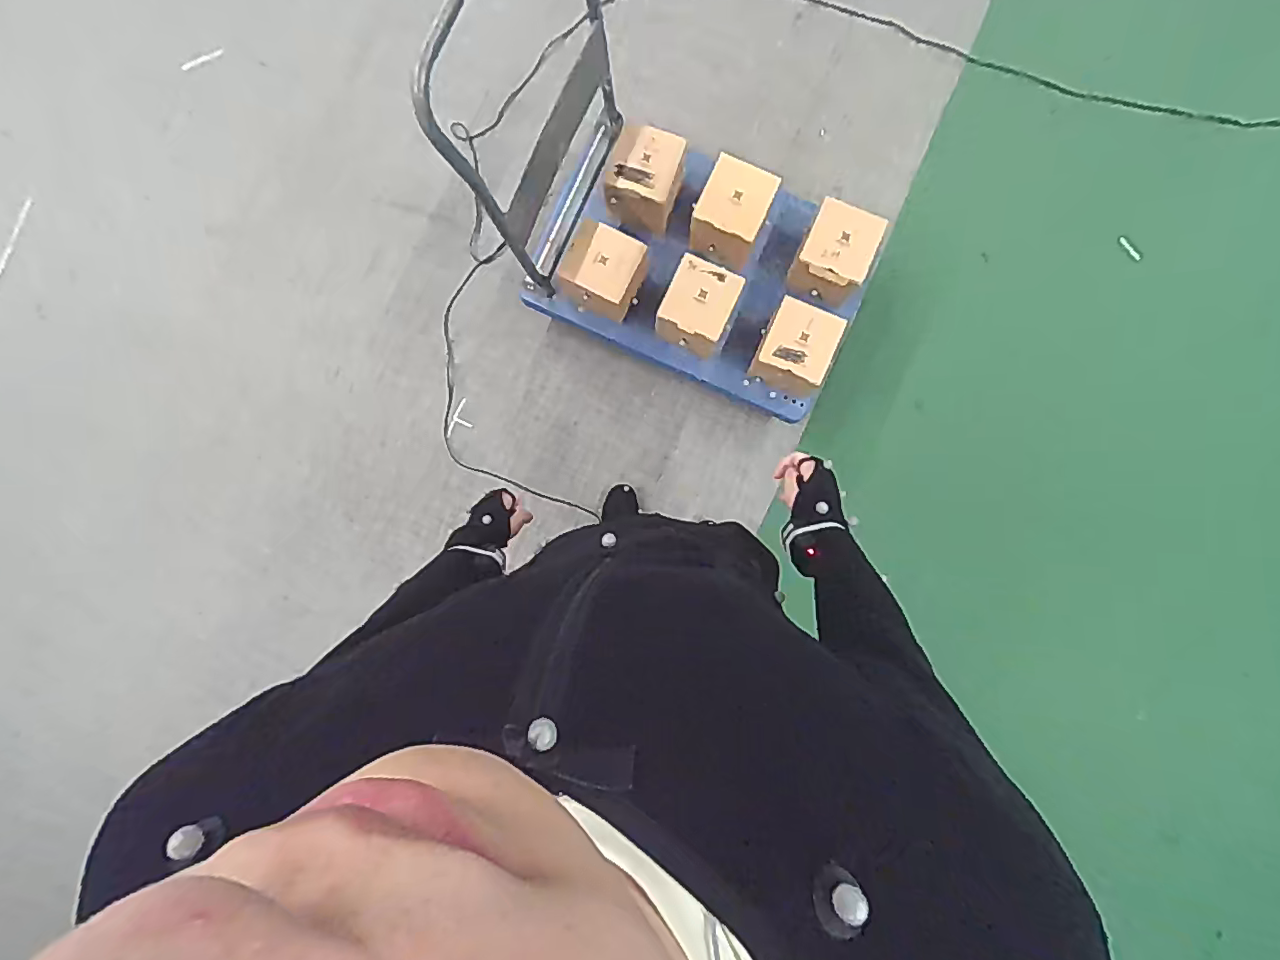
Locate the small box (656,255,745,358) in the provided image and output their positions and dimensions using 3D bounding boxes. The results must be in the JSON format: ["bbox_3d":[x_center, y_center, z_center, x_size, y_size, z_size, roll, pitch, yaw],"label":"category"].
[{"bbox_3d":[0.151,-0.438,1.402,0.168,0.176,0.179,26,89,2],"label":"small box"}]

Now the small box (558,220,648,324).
[{"bbox_3d":[-0.091,-0.533,1.412,0.179,0.176,0.168,27,89,1],"label":"small box"}]

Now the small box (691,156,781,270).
[{"bbox_3d":[0.241,-0.688,1.411,0.168,0.176,0.179,25,90,1],"label":"small box"}]

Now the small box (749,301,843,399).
[{"bbox_3d":[0.396,-0.330,1.410,0.168,0.176,0.179,24,88,1],"label":"small box"}]

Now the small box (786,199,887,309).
[{"bbox_3d":[0.497,-0.576,1.399,0.168,0.176,0.179,24,89,3],"label":"small box"}]
